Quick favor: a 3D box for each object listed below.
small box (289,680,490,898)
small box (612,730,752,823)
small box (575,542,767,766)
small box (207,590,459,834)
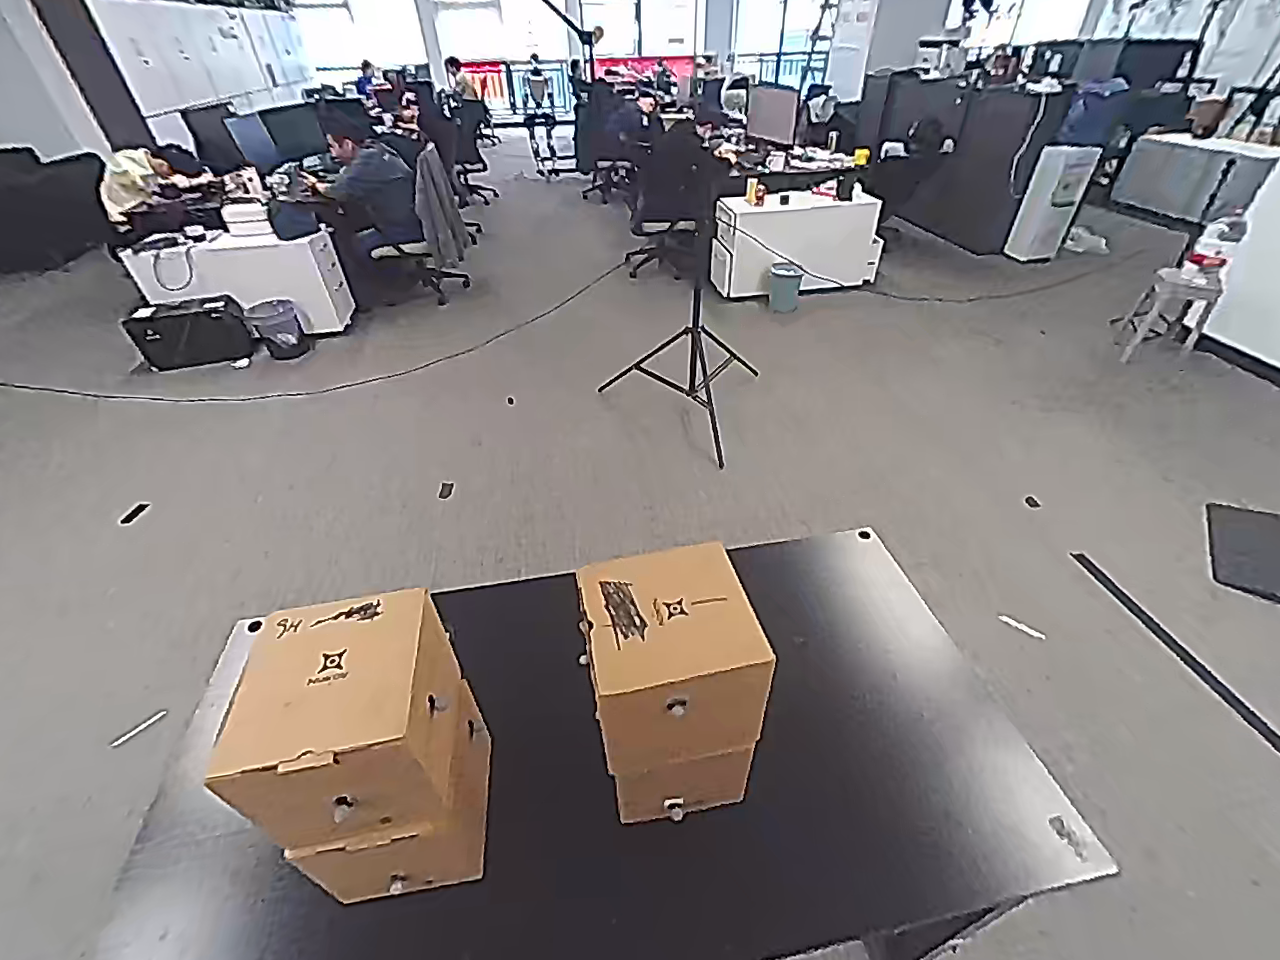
[{"bbox_3d":[-0.289,0.380,0.673,0.168,0.176,0.179,-7,40,-5],"label":"small box"},{"bbox_3d":[0.039,0.324,0.730,0.168,0.176,0.179,-9,41,-6],"label":"small box"},{"bbox_3d":[0.029,0.200,0.622,0.179,0.176,0.168,-9,40,-8],"label":"small box"},{"bbox_3d":[-0.297,0.248,0.575,0.168,0.176,0.179,-8,40,-8],"label":"small box"}]
